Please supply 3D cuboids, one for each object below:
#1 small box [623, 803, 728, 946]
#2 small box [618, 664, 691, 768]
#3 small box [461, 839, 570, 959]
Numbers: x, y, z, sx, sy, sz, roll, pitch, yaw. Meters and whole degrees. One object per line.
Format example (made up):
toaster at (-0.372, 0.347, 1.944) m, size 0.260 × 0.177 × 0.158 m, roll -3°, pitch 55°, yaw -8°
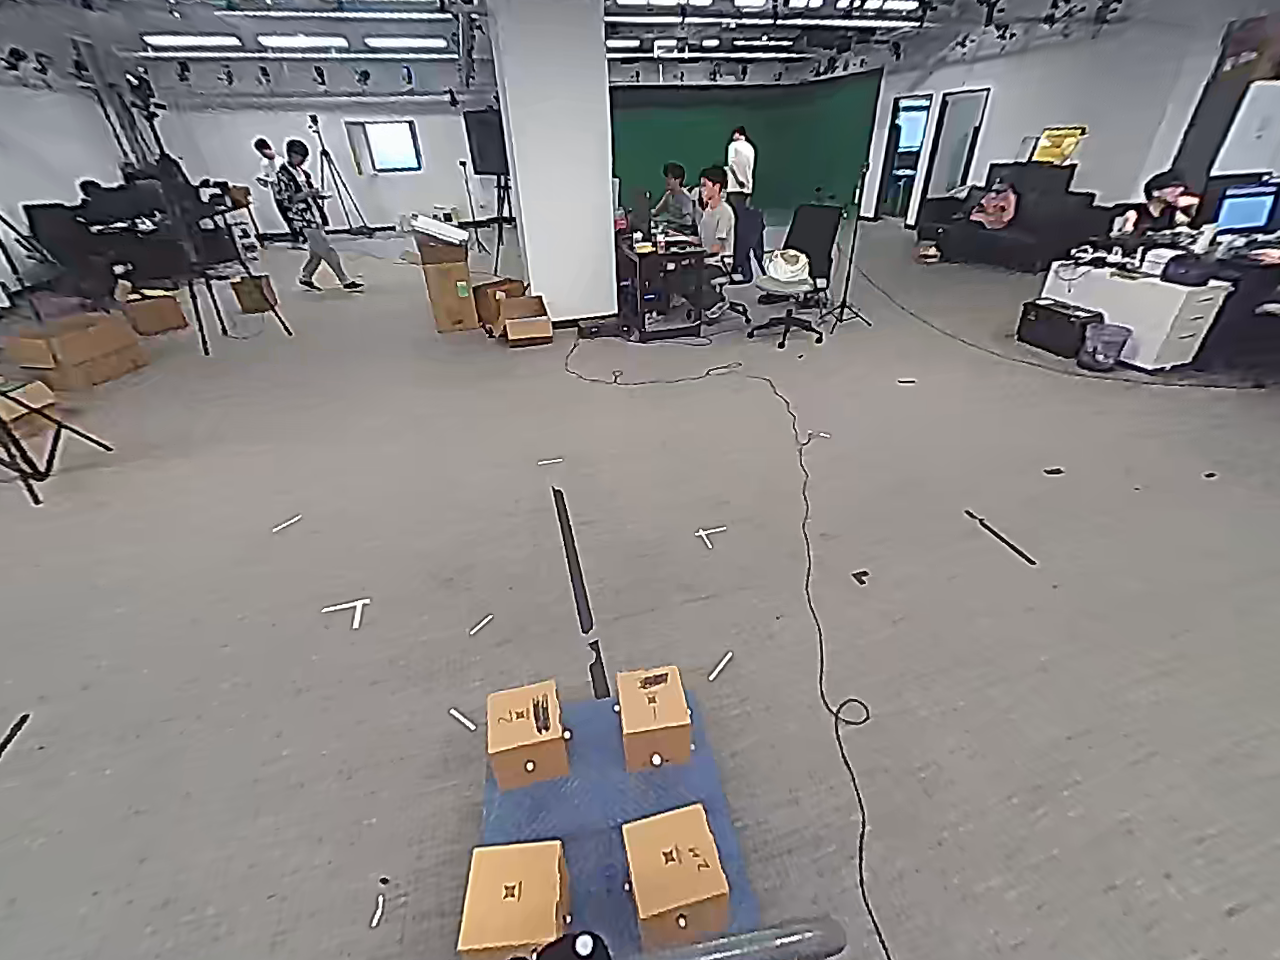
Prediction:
small box at (0.070, 0.802, 1.100) m, size 0.179 × 0.176 × 0.168 m, roll -9°, pitch 33°, yaw -10°
small box at (0.033, 0.612, 1.406) m, size 0.168 × 0.176 × 0.179 m, roll -6°, pitch 34°, yaw -6°
small box at (-0.234, 0.842, 1.060) m, size 0.179 × 0.176 × 0.168 m, roll -3°, pitch 31°, yaw -4°
